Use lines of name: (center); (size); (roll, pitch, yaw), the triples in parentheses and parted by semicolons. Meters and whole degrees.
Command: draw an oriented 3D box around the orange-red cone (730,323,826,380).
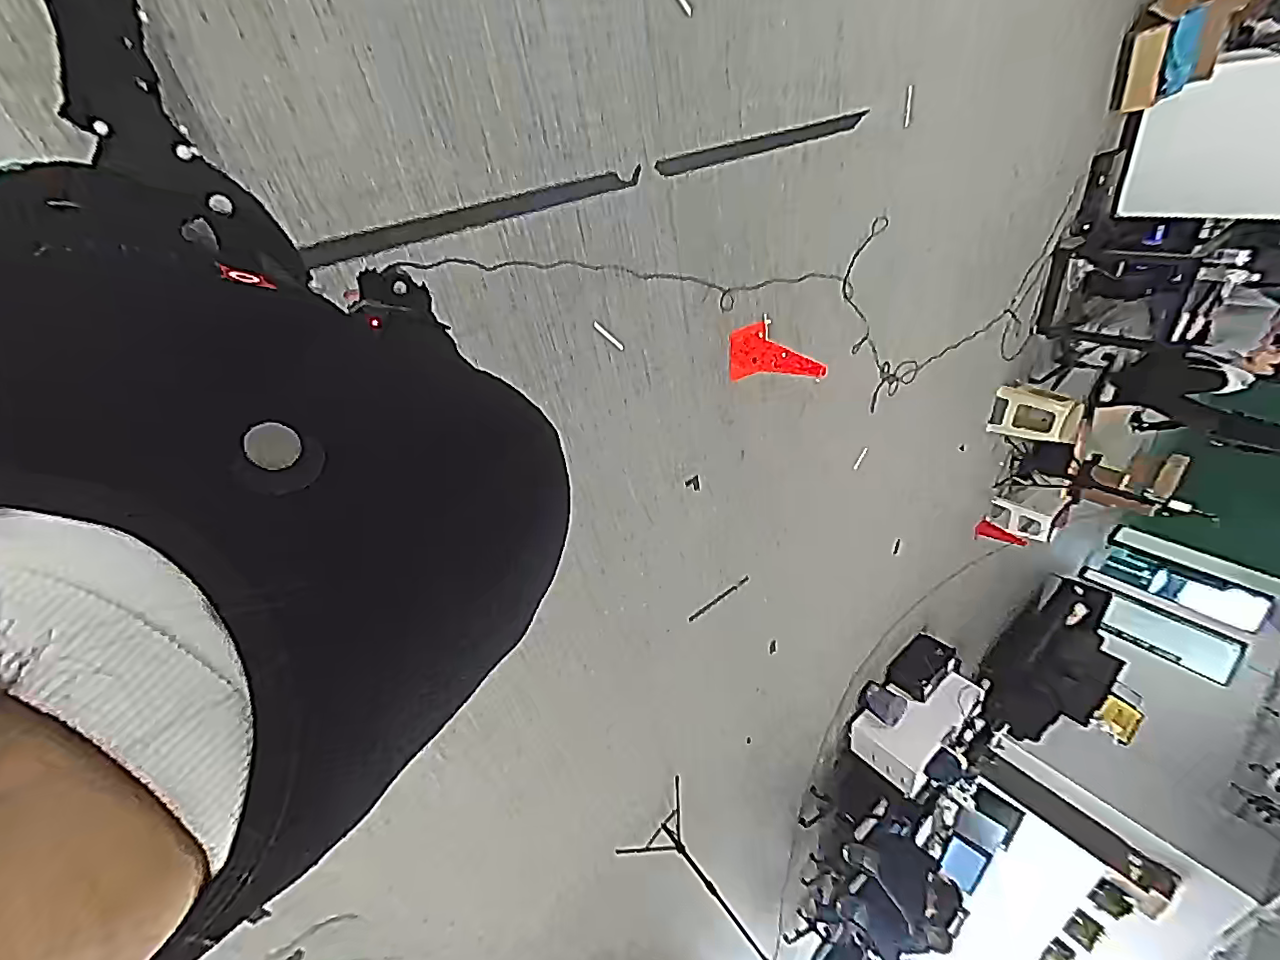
orange-red cone: (0.519, -0.437, 1.972); (0.199, 0.360, 0.198); (-23, 124, -29)
